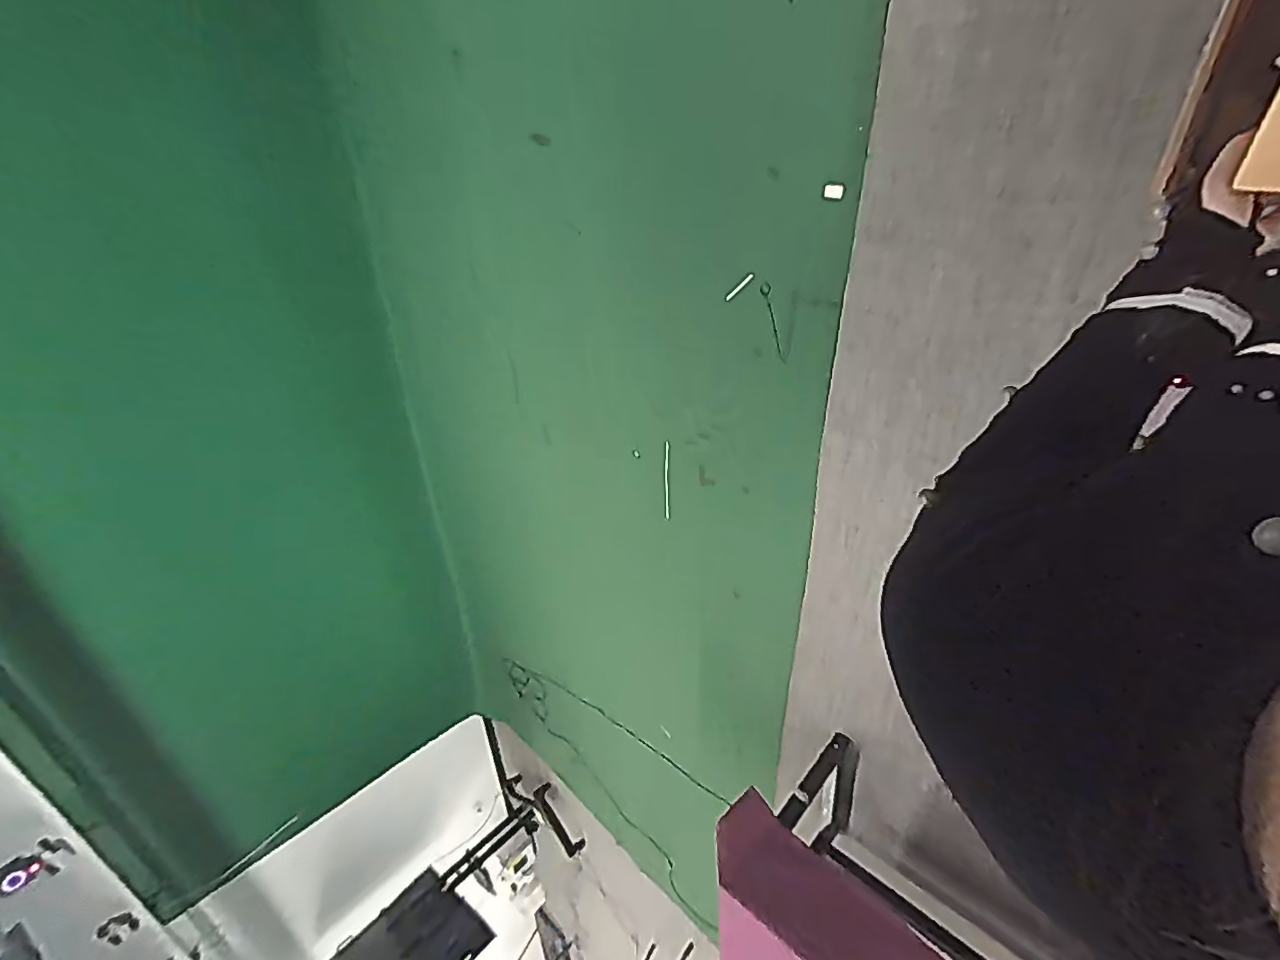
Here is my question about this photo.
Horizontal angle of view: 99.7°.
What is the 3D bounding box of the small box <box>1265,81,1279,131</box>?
[{"bbox_3d":[0.696,-0.398,0.459,0.179,0.176,0.168,26,129,36],"label":"small box"}]
